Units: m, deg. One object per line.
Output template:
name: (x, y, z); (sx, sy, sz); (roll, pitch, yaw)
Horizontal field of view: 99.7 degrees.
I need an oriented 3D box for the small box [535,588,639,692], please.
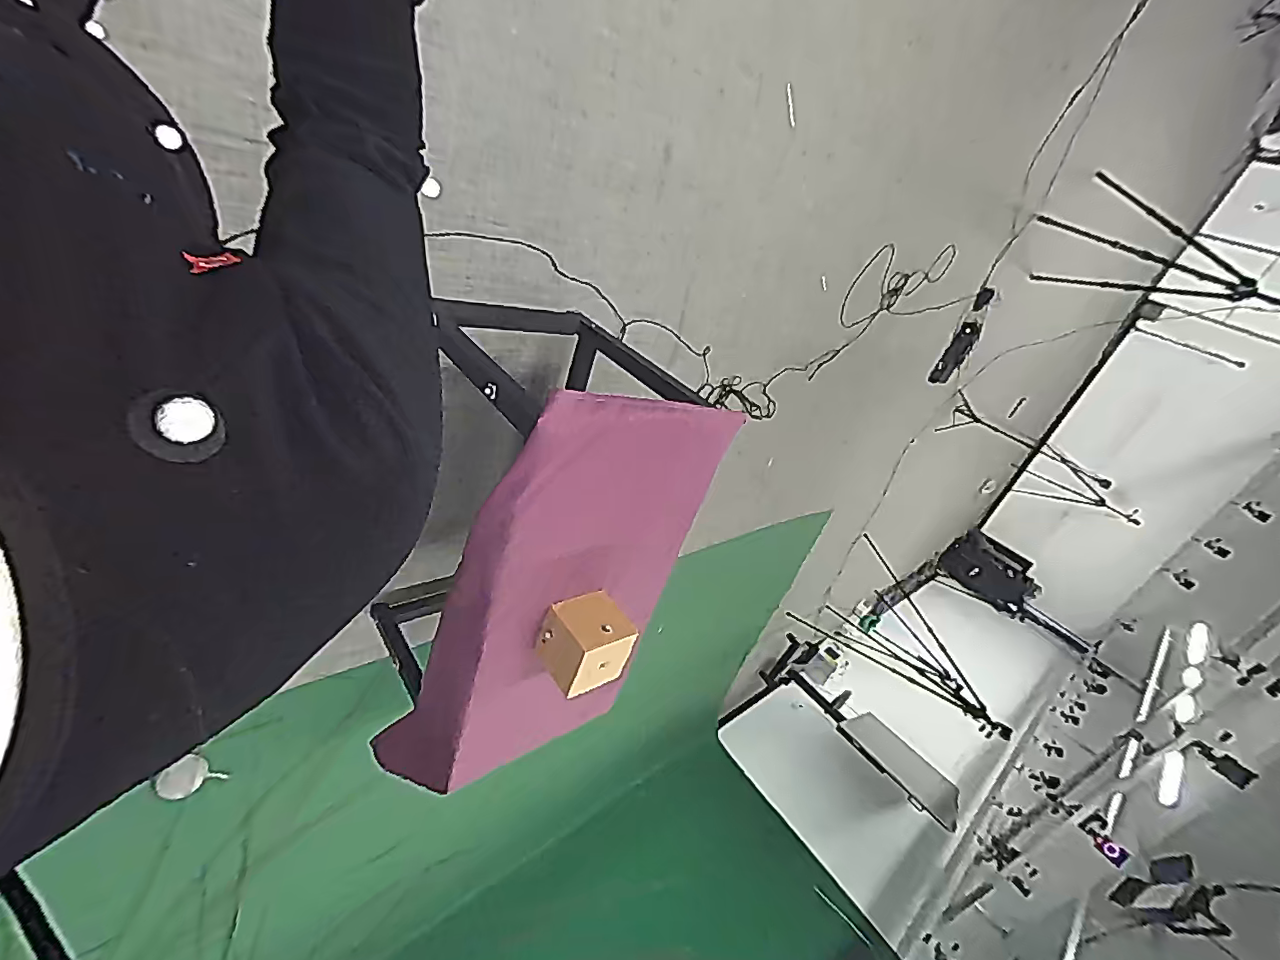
small box: (-0.138, 0.397, 1.378); (0.179, 0.176, 0.168); (-4, 126, -44)
